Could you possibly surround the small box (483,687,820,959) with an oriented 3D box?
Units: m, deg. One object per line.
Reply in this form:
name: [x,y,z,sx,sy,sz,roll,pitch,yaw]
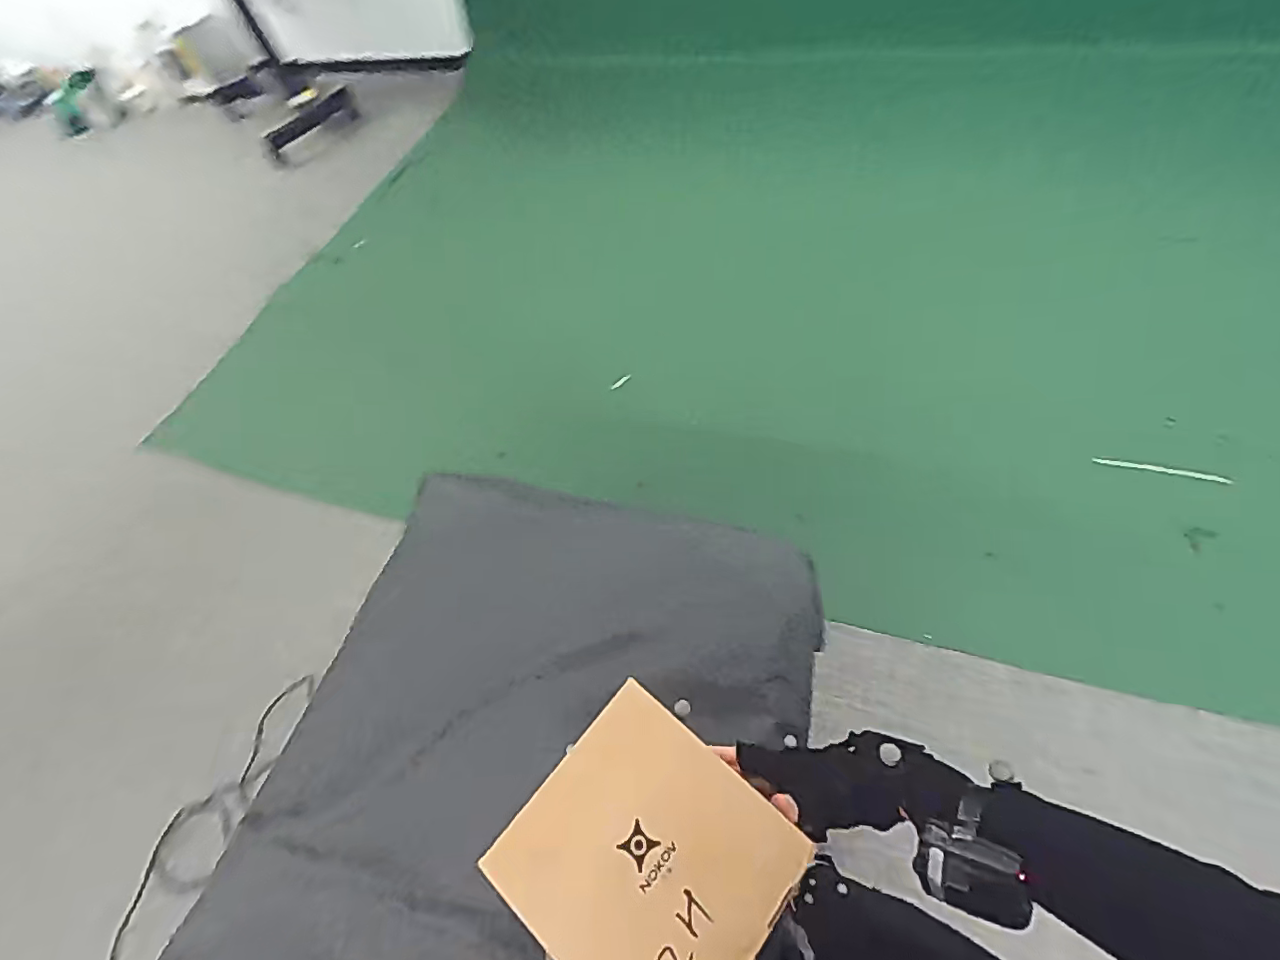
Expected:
small box: [0.010,0.304,0.440,0.179,0.176,0.168,38,70,22]
